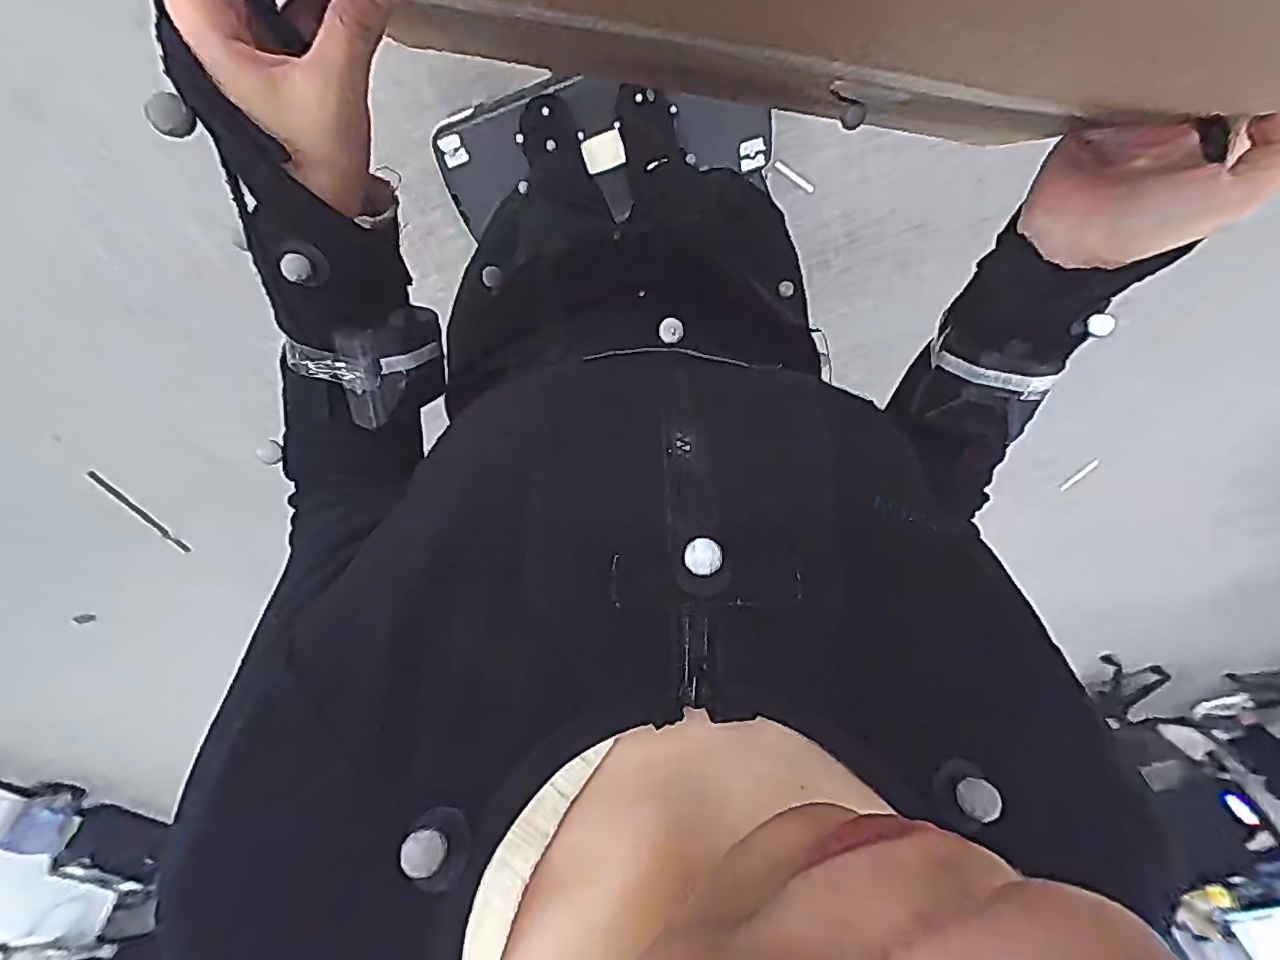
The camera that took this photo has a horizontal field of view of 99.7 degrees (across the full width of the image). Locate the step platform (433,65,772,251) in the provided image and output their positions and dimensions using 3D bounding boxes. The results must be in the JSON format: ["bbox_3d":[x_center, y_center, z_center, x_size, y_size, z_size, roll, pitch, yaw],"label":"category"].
[{"bbox_3d":[-0.072,-0.721,1.141,0.684,0.204,0.286,-13,130,5],"label":"step platform"}]

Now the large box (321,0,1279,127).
[{"bbox_3d":[0.059,-0.325,0.156,0.408,0.320,0.320,5,119,-5],"label":"large box"}]
